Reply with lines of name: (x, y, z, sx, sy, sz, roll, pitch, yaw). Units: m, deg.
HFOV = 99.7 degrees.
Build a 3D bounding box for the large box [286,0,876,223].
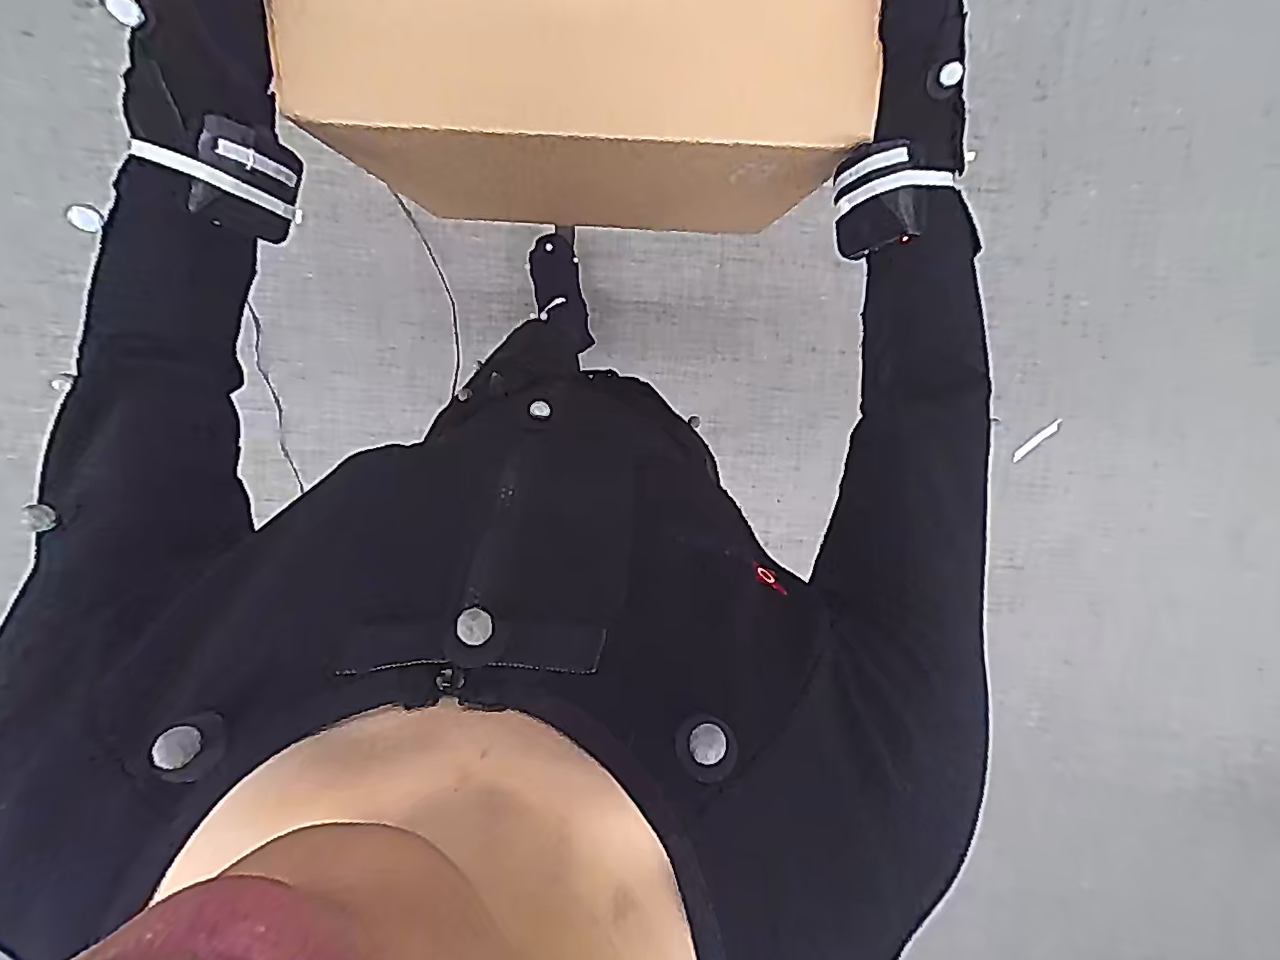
large box: (-0.041, -0.434, 0.489, 0.408, 0.320, 0.320, 1, 104, -3)
